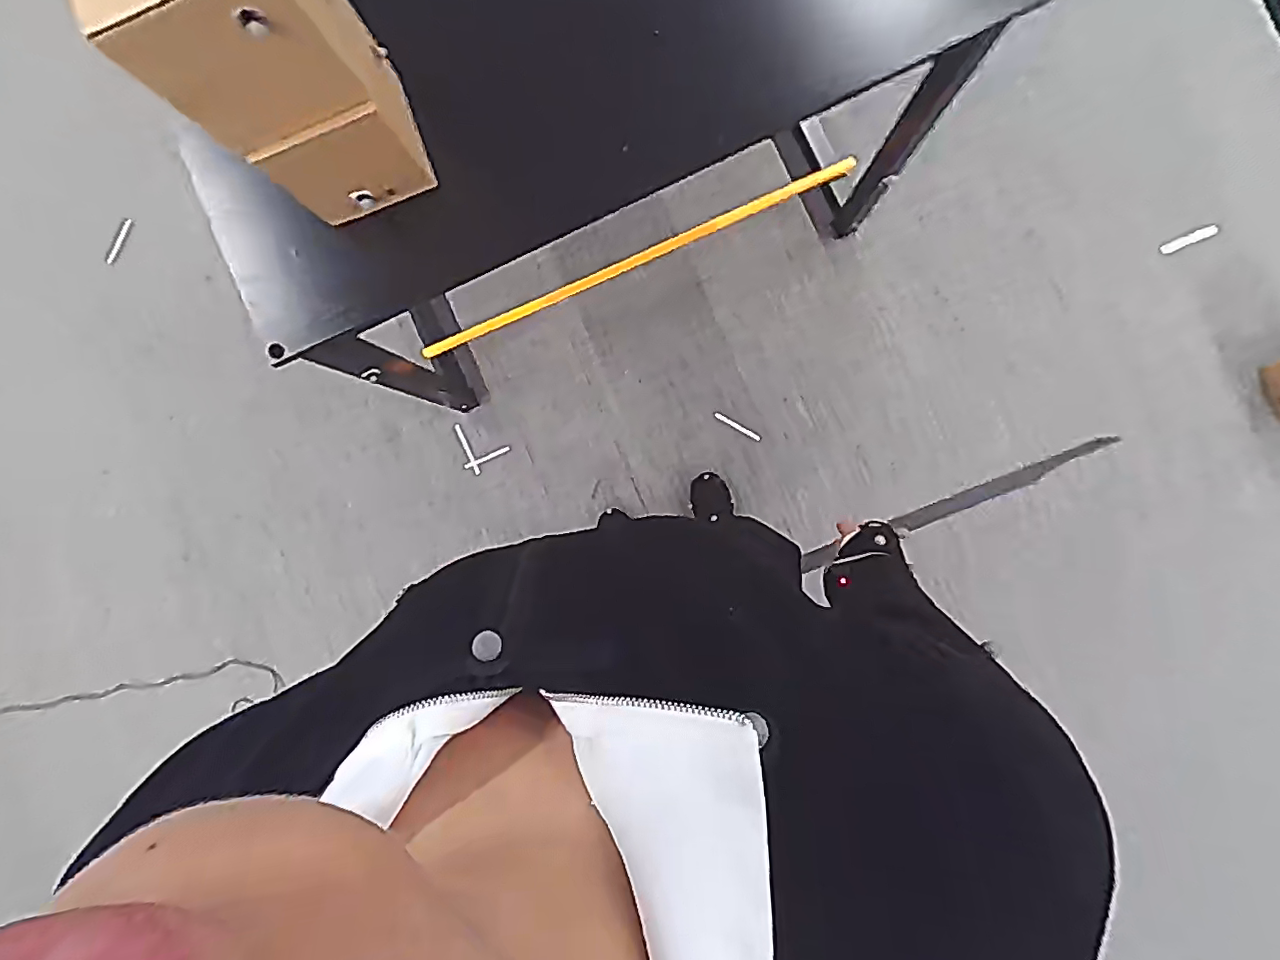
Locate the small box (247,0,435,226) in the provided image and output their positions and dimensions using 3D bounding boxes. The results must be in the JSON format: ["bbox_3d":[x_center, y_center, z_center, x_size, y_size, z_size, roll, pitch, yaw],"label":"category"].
[{"bbox_3d":[-0.399,-0.472,0.704,0.168,0.176,0.179,-21,90,4],"label":"small box"}]

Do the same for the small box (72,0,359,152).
[{"bbox_3d":[-0.415,-0.477,0.539,0.179,0.176,0.168,-21,88,4],"label":"small box"}]

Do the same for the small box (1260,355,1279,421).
[{"bbox_3d":[1.706,-0.252,1.329,0.179,0.176,0.168,-22,89,4],"label":"small box"}]
